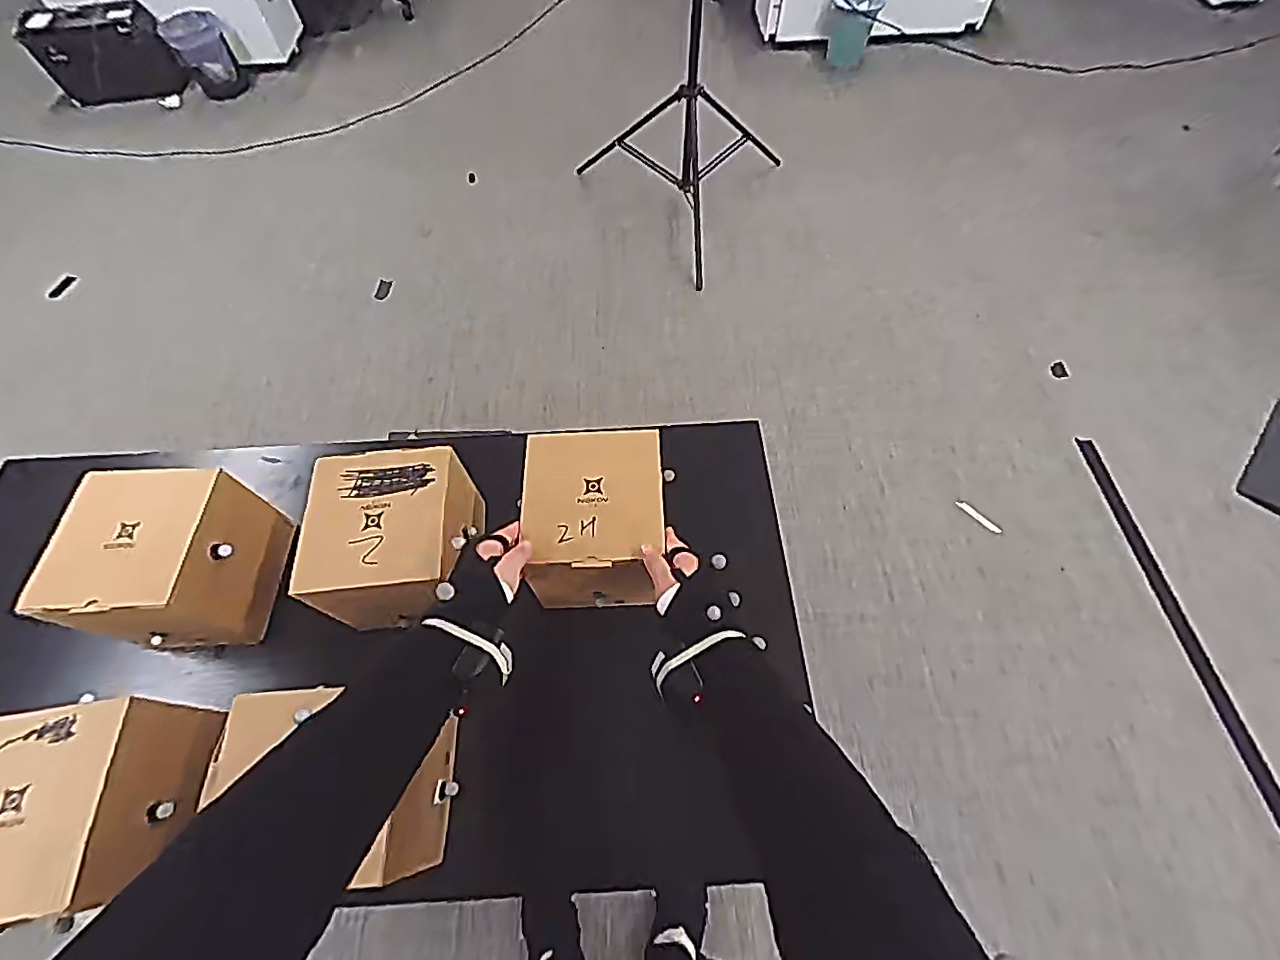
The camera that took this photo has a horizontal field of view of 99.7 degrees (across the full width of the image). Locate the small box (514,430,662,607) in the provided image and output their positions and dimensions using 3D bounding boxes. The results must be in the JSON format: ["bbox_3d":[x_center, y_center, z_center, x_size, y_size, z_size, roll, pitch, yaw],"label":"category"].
[{"bbox_3d":[-0.058,0.054,0.706,0.168,0.176,0.179,-3,60,1],"label":"small box"}]

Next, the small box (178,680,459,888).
[{"bbox_3d":[-0.310,0.314,0.568,0.179,0.176,0.168,-3,61,-1],"label":"small box"}]

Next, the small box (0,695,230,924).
[{"bbox_3d":[-0.566,0.336,0.561,0.168,0.176,0.179,-9,61,-3],"label":"small box"}]

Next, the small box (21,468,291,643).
[{"bbox_3d":[-0.590,0.101,0.695,0.168,0.176,0.179,-2,61,0],"label":"small box"}]
